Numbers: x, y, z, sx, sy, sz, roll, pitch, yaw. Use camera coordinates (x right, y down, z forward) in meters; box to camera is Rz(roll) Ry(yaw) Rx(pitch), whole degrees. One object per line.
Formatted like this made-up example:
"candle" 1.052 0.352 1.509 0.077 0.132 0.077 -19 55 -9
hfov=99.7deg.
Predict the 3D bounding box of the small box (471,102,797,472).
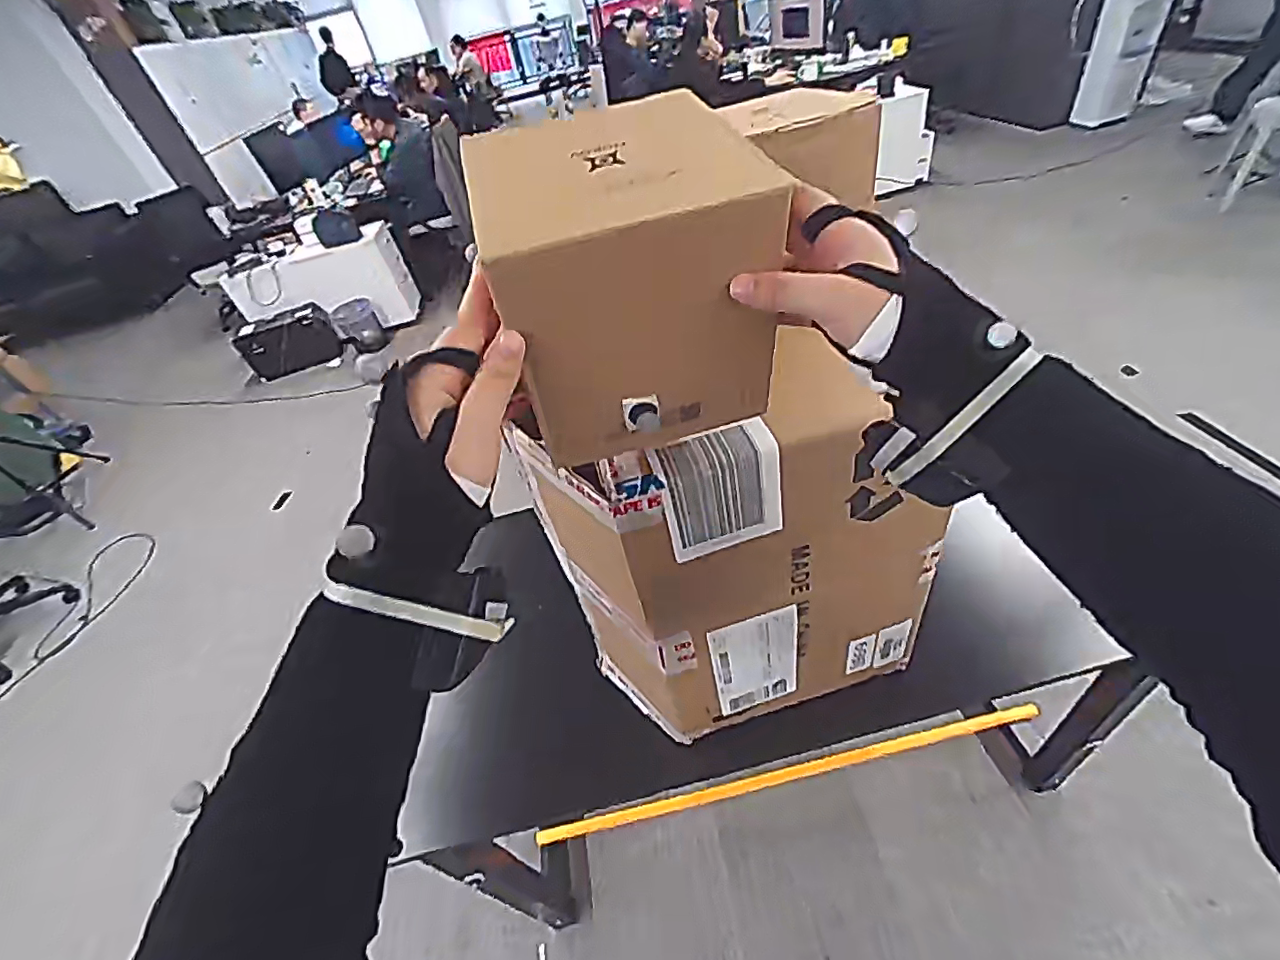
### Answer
"small box" -0.009 -0.136 0.388 0.168 0.176 0.179 -17 52 -5

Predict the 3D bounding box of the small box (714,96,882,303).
"small box" 0.141 -0.310 0.608 0.168 0.176 0.179 -17 40 -3
